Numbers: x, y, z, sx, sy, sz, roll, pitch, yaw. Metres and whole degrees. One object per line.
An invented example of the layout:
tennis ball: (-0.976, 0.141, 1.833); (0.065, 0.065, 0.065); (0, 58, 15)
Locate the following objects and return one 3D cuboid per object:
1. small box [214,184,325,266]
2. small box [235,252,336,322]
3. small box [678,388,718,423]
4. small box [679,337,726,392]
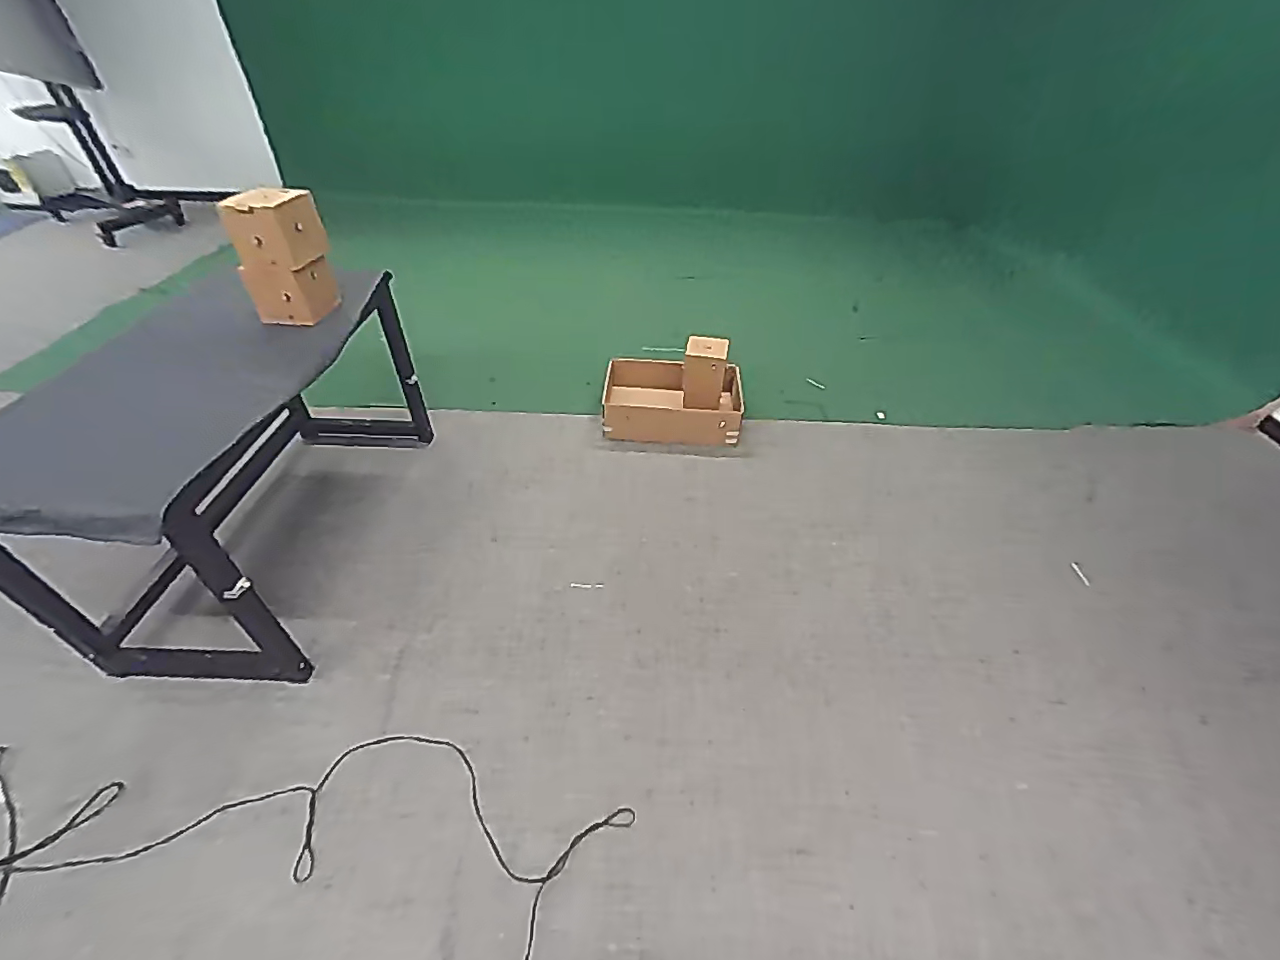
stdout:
small box: (-1.036, -0.721, 1.532); (0.168, 0.176, 0.179); (7, 43, 5)
small box: (-1.058, -0.593, 1.634); (0.168, 0.176, 0.179); (5, 41, 2)
small box: (0.269, -0.387, 2.489); (0.168, 0.176, 0.179); (8, 44, 7)
small box: (0.274, -0.504, 2.374); (0.179, 0.176, 0.168); (8, 43, 7)
